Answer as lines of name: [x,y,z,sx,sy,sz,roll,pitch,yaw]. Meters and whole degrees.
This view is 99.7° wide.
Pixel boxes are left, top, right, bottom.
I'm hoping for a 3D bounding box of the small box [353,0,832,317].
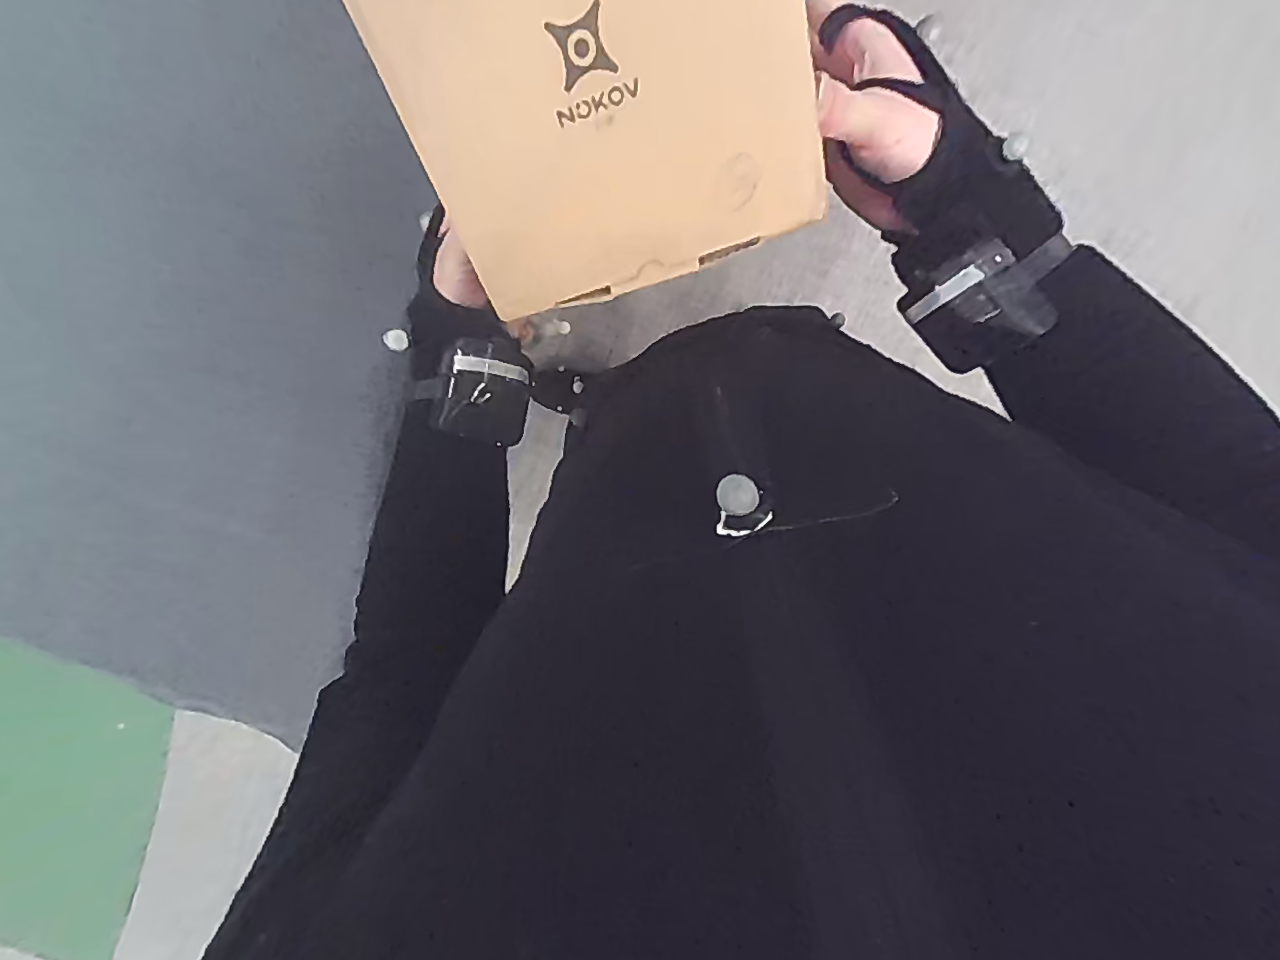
small box: [-0.010,-0.212,0.272,0.168,0.176,0.179,-13,123,15]
